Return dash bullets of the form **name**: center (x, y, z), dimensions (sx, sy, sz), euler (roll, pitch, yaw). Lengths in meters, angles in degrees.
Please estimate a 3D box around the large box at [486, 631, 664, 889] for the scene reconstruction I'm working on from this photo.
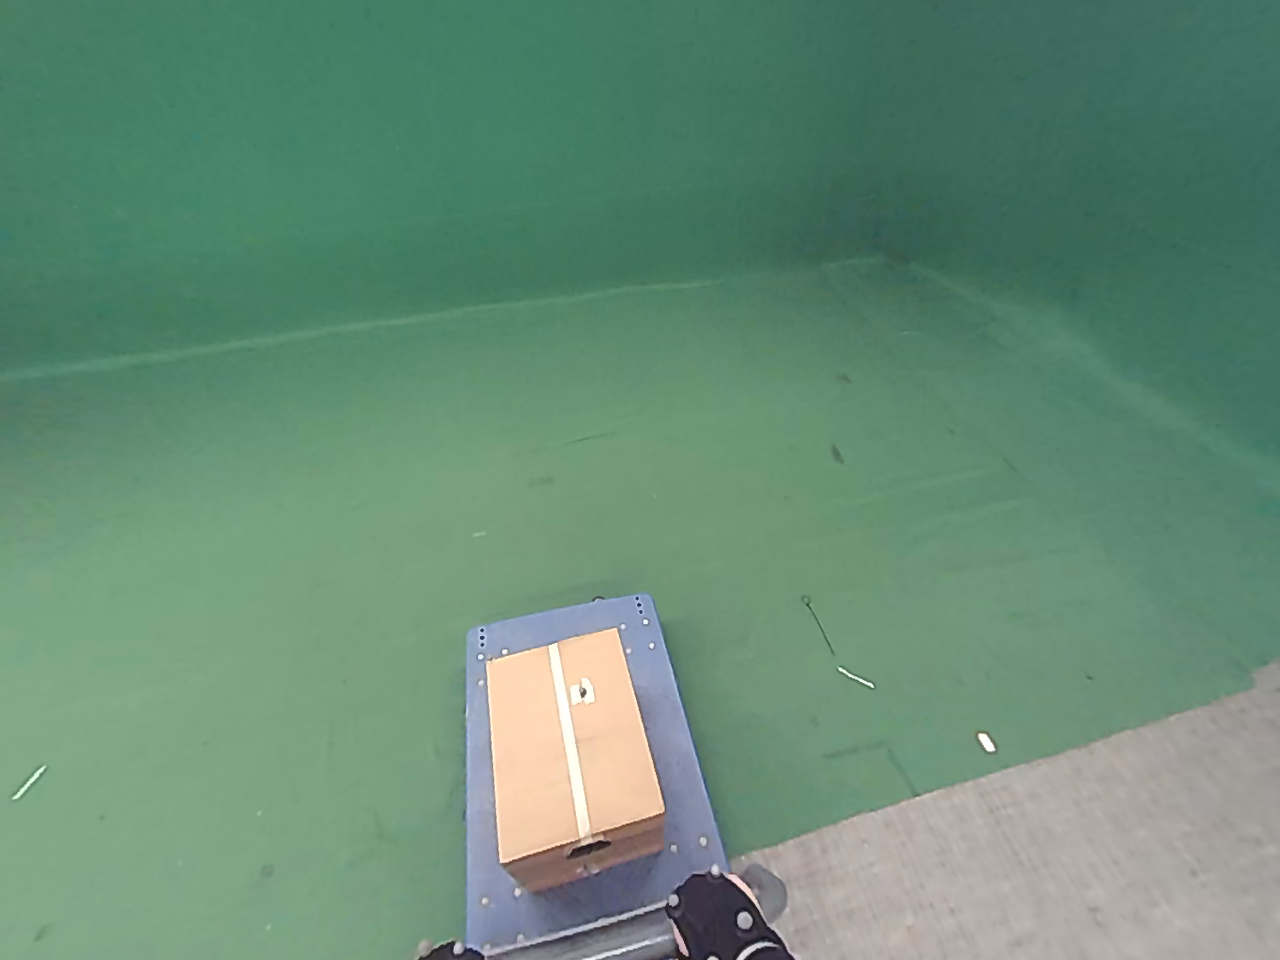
- **large box**: center (-0.148, 0.632, 1.243), dimensions (0.320, 0.320, 0.408), euler (-12, 46, -10)
